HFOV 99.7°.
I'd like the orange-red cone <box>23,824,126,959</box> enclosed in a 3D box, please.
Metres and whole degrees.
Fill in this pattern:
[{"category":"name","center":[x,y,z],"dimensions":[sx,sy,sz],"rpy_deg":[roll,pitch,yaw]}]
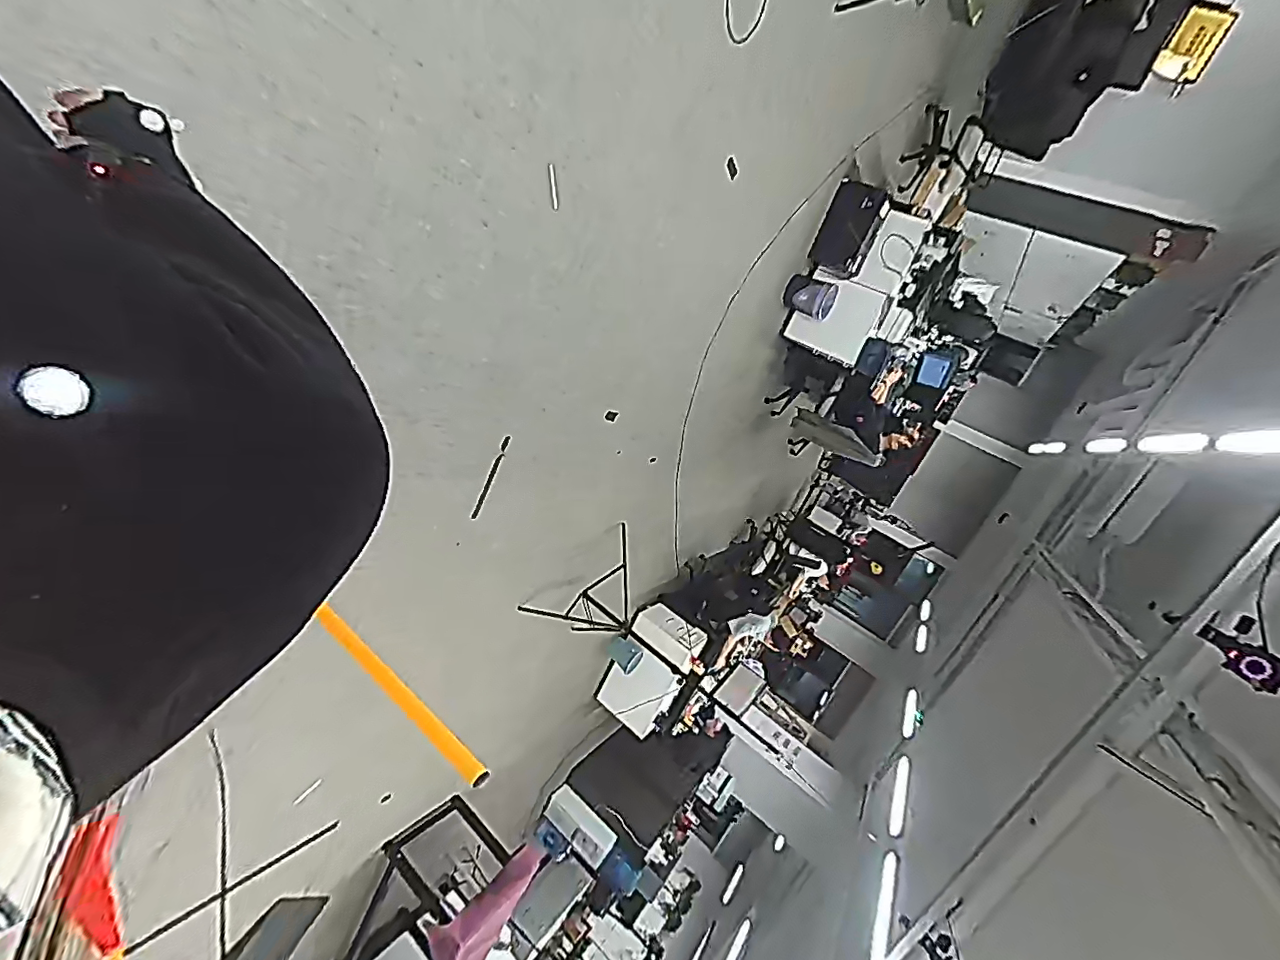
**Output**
[{"category":"orange-red cone","center":[-1.553,1.223,1.541],"dimensions":[0.198,0.360,0.199],"rpy_deg":[3,118,-62]}]
